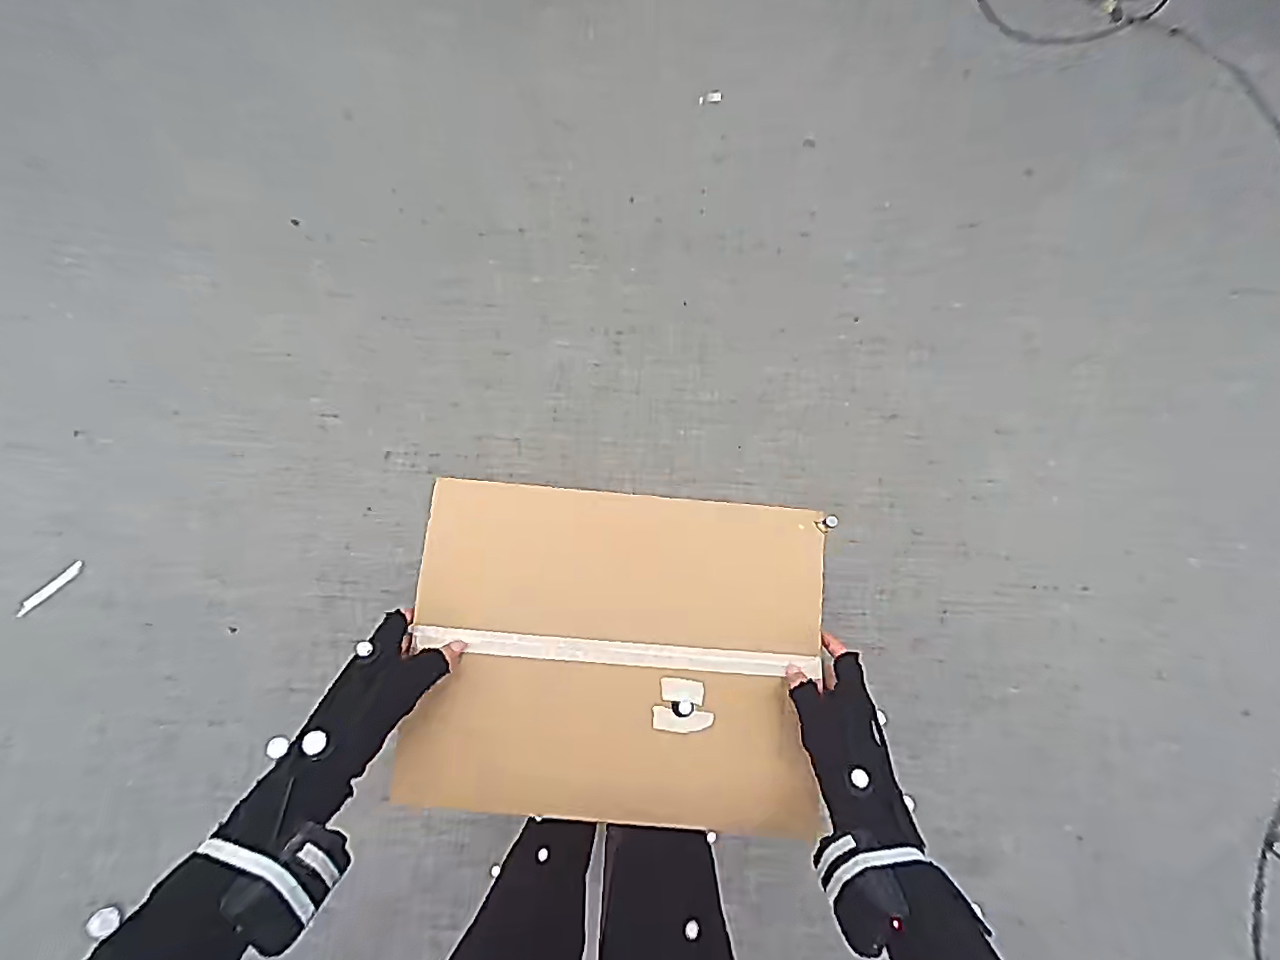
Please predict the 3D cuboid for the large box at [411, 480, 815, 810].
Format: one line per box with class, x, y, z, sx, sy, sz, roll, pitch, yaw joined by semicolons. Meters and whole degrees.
large box;-0.025;0.189;0.701;0.408;0.320;0.320;5;81;-1
